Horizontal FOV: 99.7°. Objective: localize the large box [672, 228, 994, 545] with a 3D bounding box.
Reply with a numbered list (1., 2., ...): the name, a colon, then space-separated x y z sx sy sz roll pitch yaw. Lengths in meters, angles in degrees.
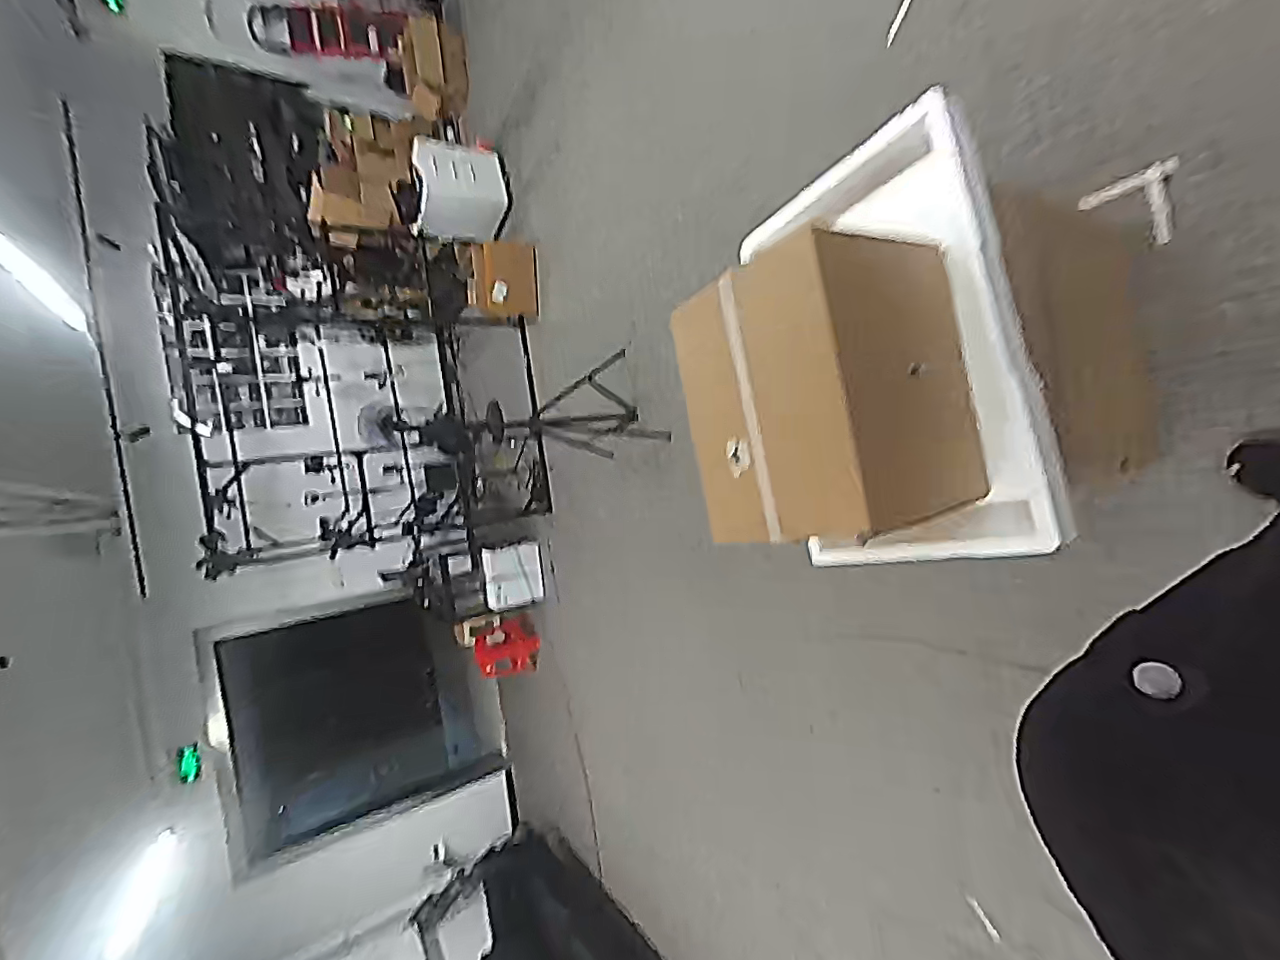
1. large box: 0.298 -0.130 0.872 0.320 0.320 0.408 -14 88 59
